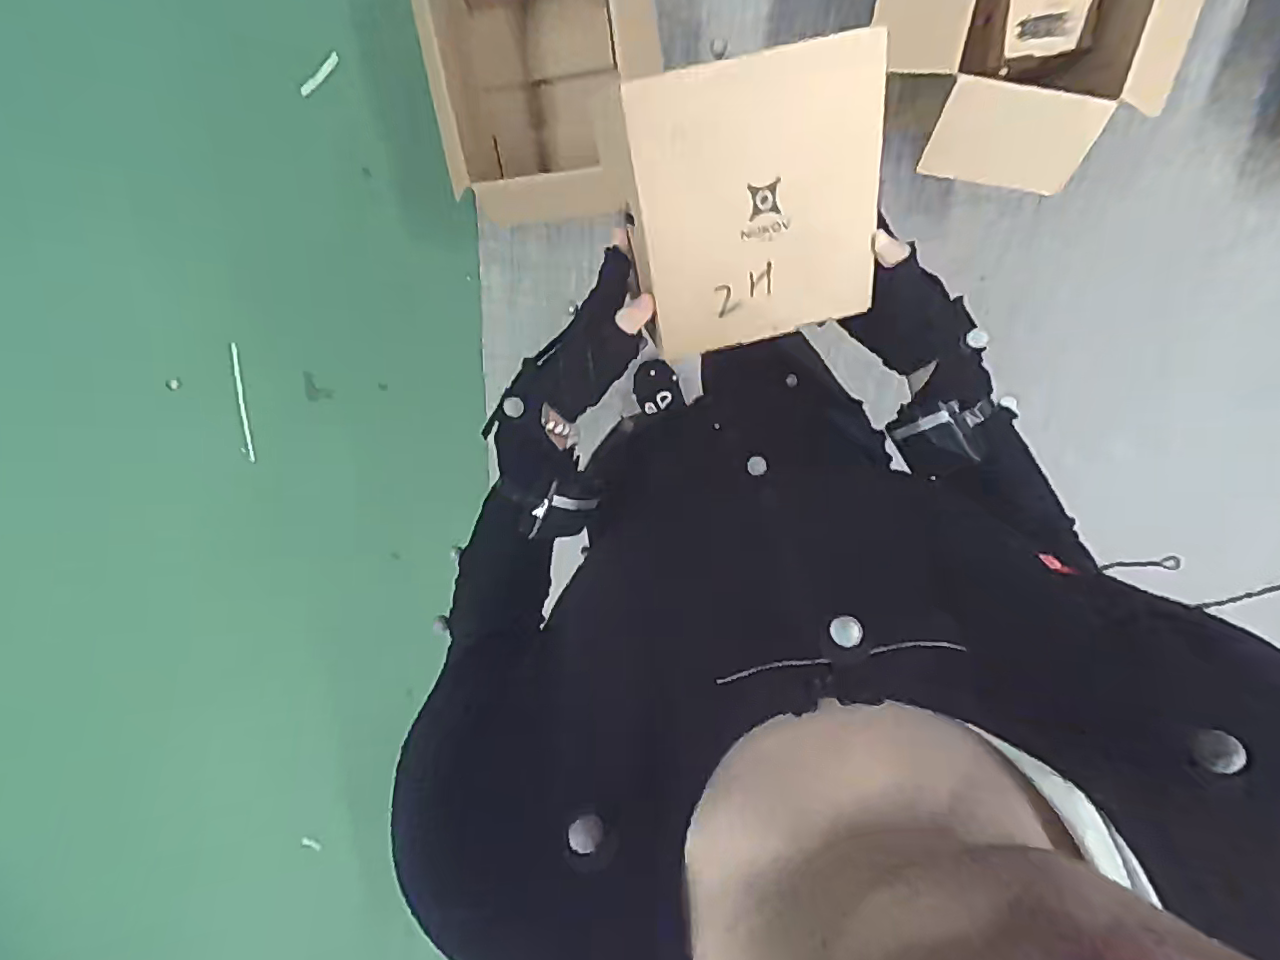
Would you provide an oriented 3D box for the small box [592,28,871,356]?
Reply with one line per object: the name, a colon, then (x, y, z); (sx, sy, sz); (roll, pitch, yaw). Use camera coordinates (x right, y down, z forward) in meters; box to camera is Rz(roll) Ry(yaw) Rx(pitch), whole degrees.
small box: (0.062, -0.223, 0.434); (0.168, 0.176, 0.179); (-14, 123, -2)
